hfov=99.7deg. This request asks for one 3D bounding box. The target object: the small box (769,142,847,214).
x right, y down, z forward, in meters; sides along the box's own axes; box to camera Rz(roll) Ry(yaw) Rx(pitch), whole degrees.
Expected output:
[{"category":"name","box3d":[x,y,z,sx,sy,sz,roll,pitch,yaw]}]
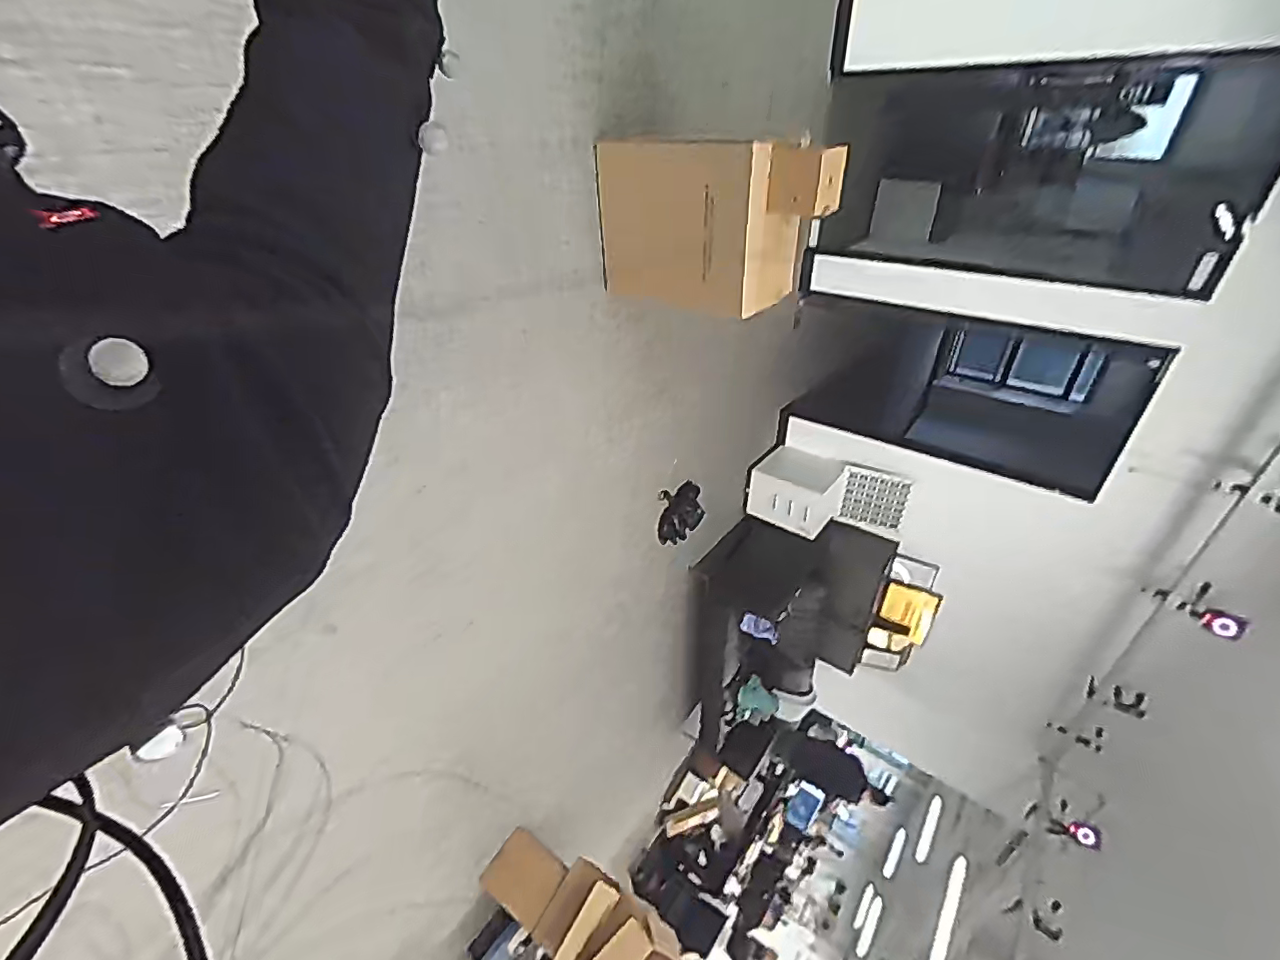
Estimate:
[{"category":"small box","box3d":[0.516,-0.942,1.681,0.168,0.176,0.179,-35,135,-36]}]
